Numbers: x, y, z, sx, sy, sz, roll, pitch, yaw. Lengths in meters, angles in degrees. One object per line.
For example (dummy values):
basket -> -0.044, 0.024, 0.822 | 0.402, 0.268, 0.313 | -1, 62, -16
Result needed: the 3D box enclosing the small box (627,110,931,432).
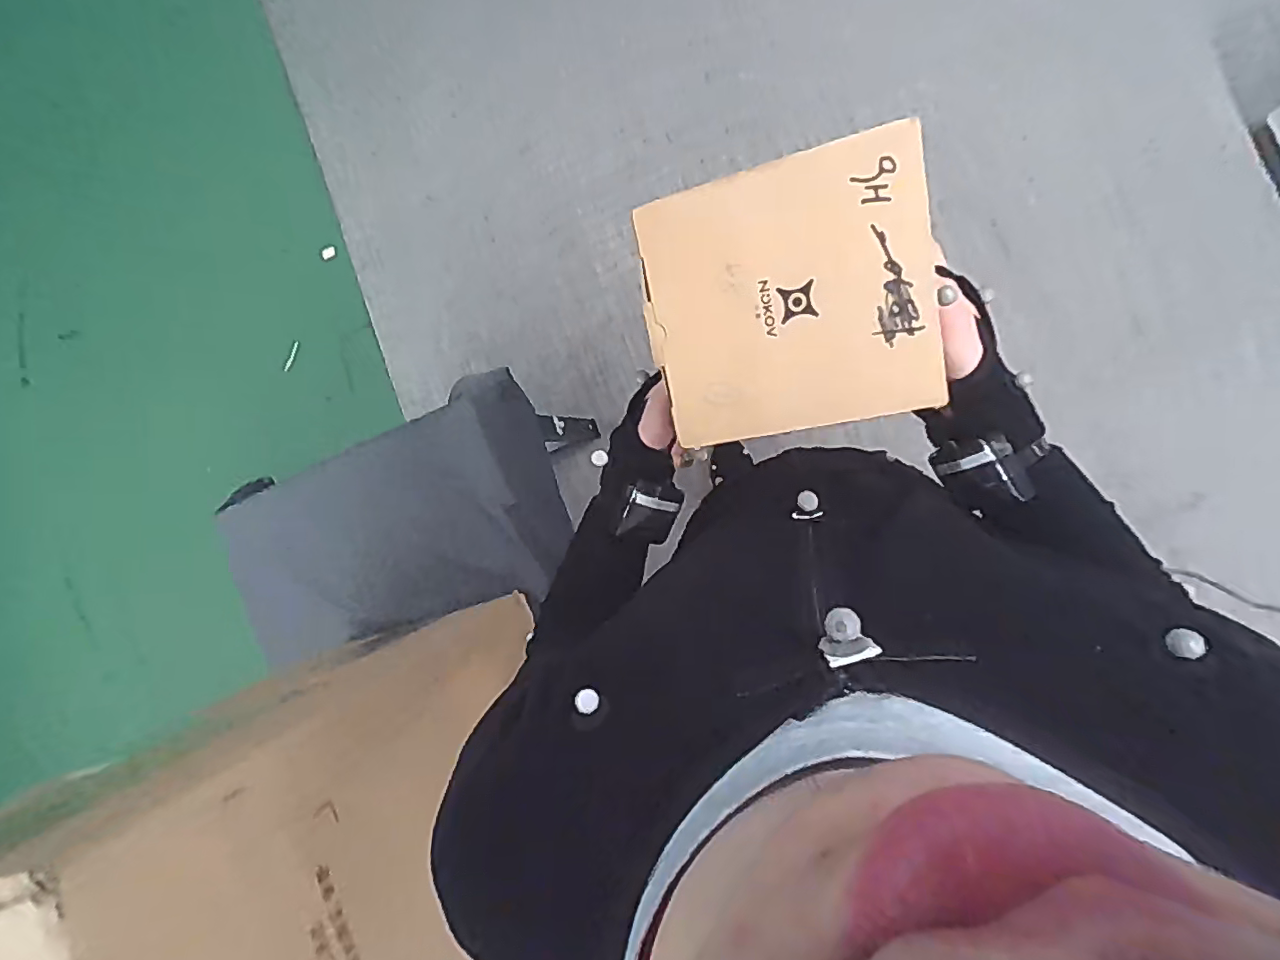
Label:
small box -> 0.111, -0.140, 0.419 | 0.179, 0.176, 0.168 | -7, 103, 20
